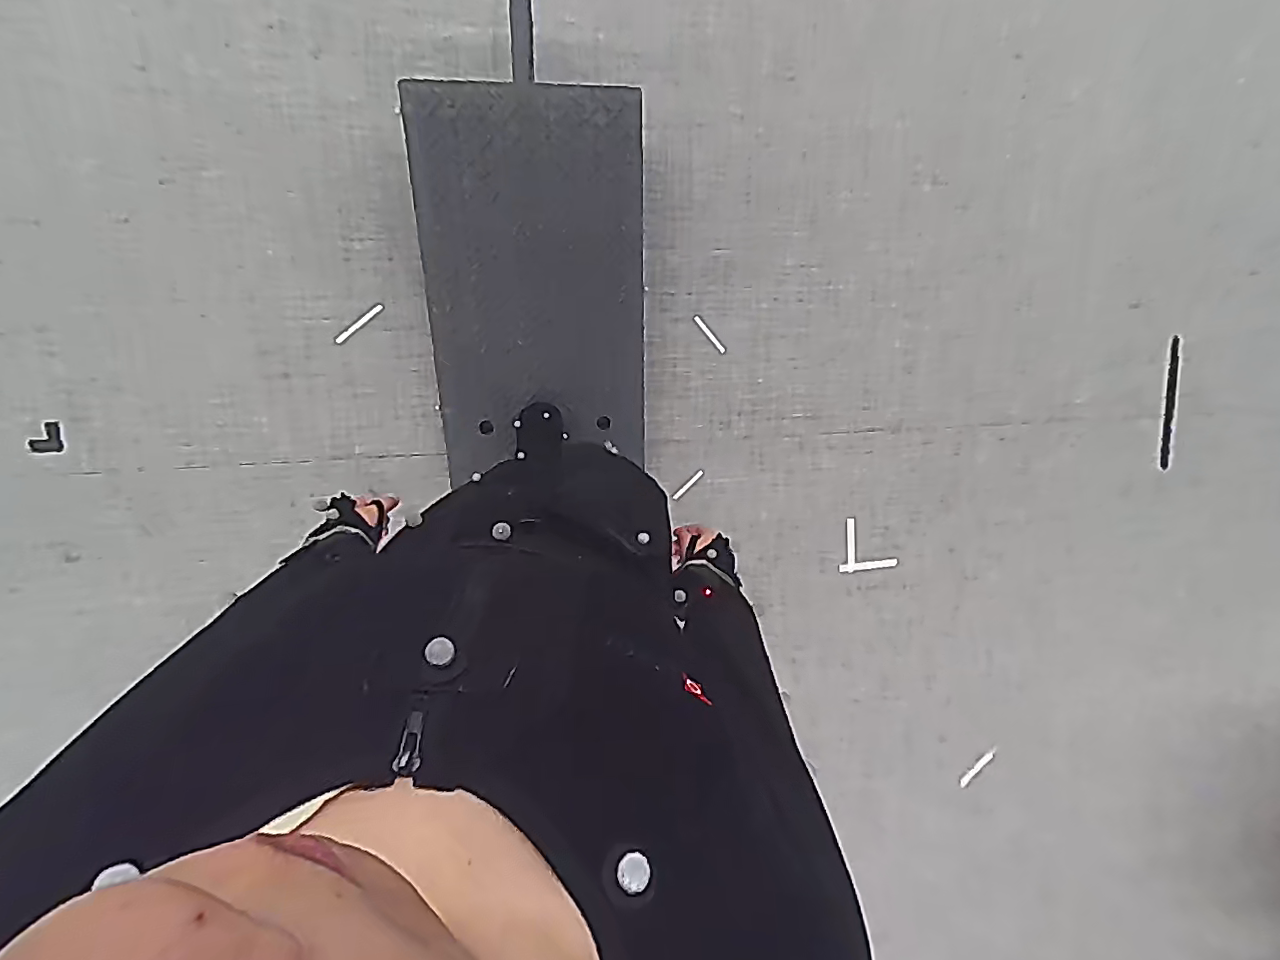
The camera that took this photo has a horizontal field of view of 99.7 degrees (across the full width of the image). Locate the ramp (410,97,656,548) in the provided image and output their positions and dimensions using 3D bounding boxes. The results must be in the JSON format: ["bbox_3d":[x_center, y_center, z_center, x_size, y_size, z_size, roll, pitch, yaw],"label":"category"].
[{"bbox_3d":[-0.209,-0.313,1.270,0.509,0.206,0.991,-5,99,-7],"label":"ramp"}]
